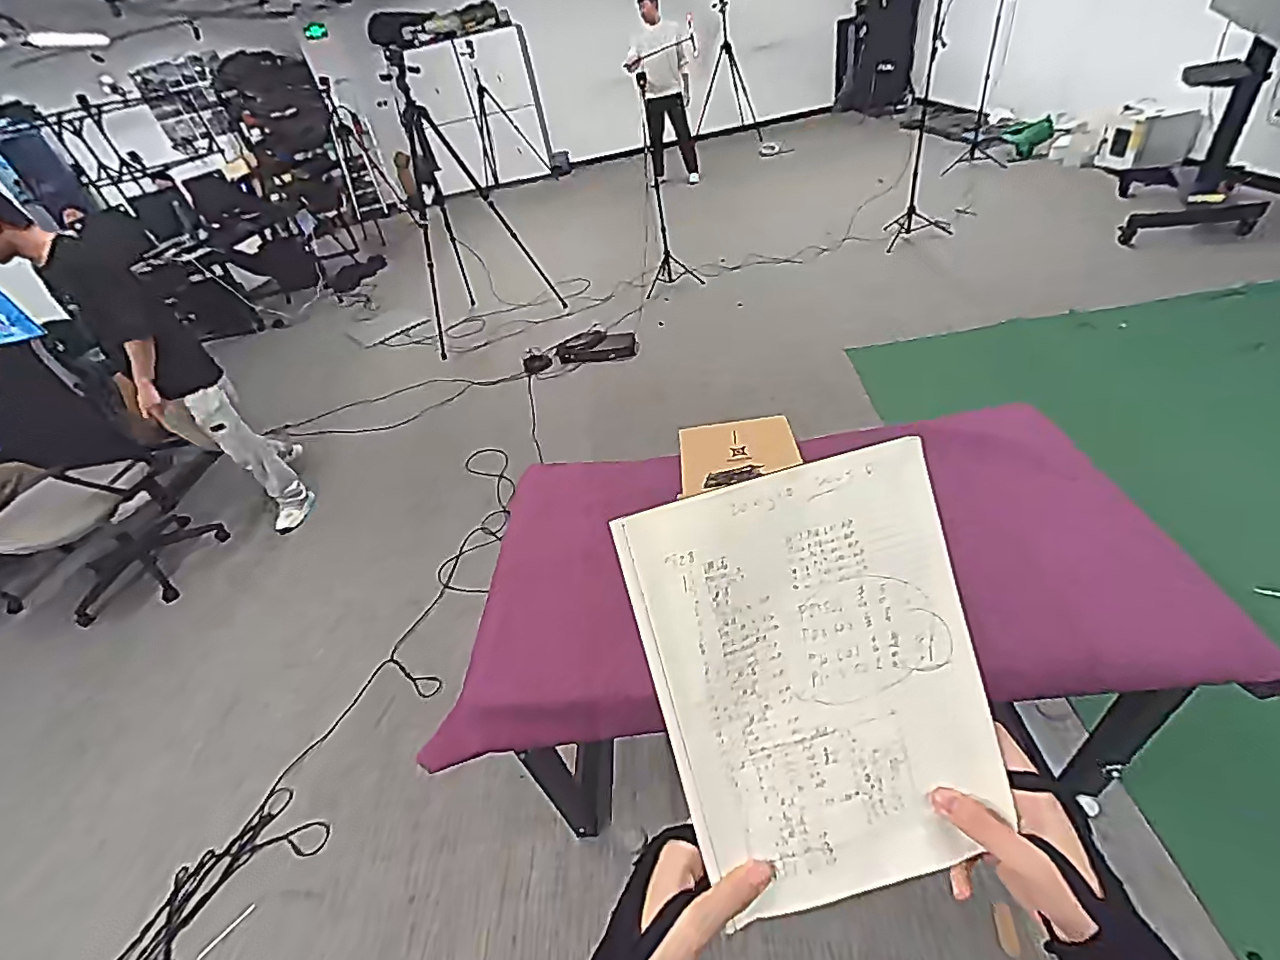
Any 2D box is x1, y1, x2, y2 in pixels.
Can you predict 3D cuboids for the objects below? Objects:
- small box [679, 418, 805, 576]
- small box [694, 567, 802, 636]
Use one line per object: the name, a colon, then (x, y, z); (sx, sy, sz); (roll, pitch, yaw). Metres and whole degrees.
small box: (0.152, 0.032, 0.820); (0.168, 0.176, 0.179); (-7, 38, 8)
small box: (0.181, 0.154, 0.929); (0.168, 0.176, 0.179); (-7, 40, 7)
